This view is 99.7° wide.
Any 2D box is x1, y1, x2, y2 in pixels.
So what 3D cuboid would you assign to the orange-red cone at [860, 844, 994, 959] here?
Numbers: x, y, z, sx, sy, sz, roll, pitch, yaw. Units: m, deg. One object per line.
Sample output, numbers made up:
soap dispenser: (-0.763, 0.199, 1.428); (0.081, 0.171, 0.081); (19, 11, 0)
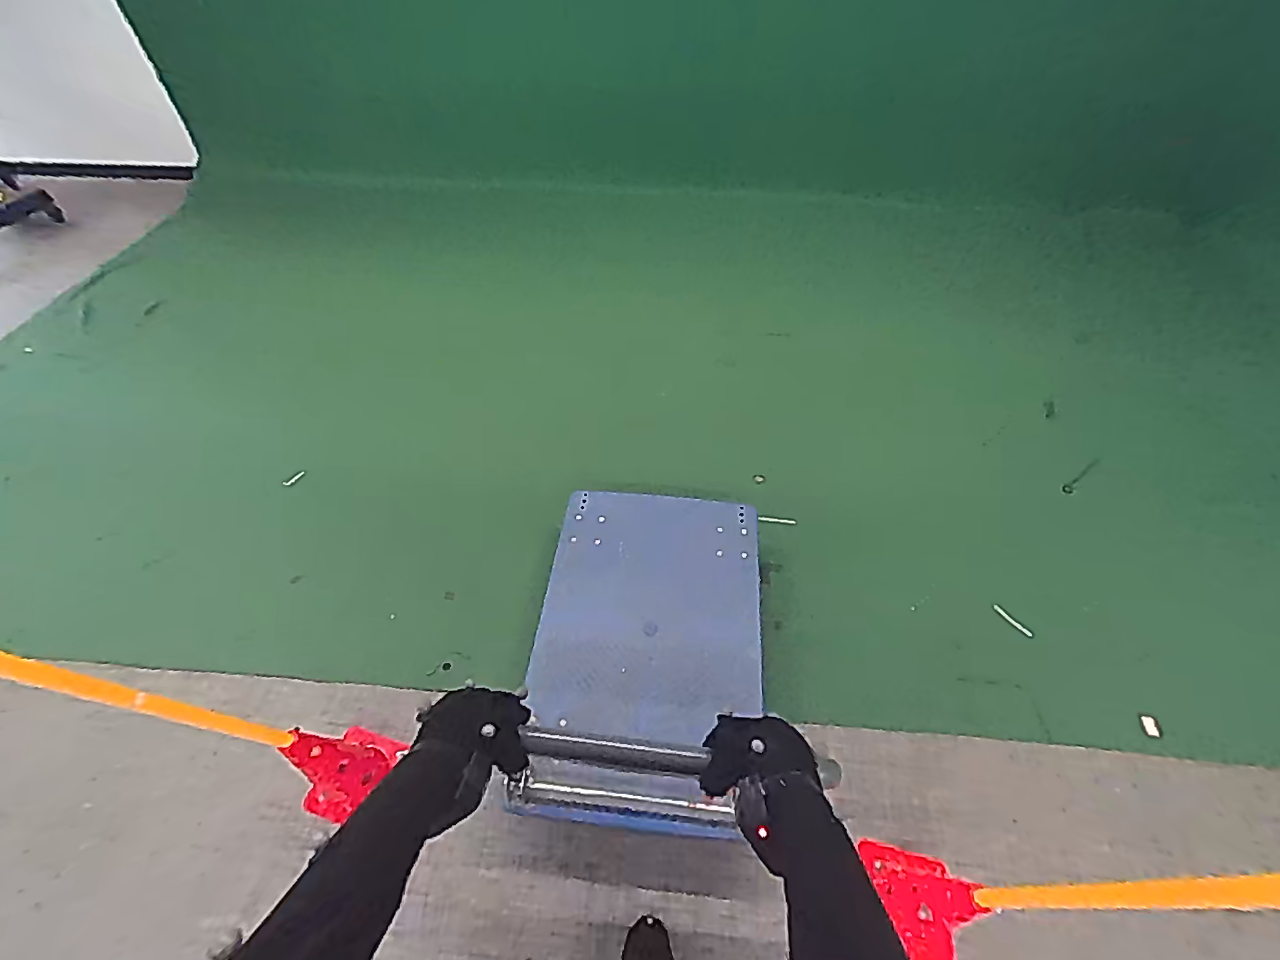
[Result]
orange-red cone: (0.576, 0.815, 1.037); (0.198, 0.360, 0.199); (11, 52, 10)
